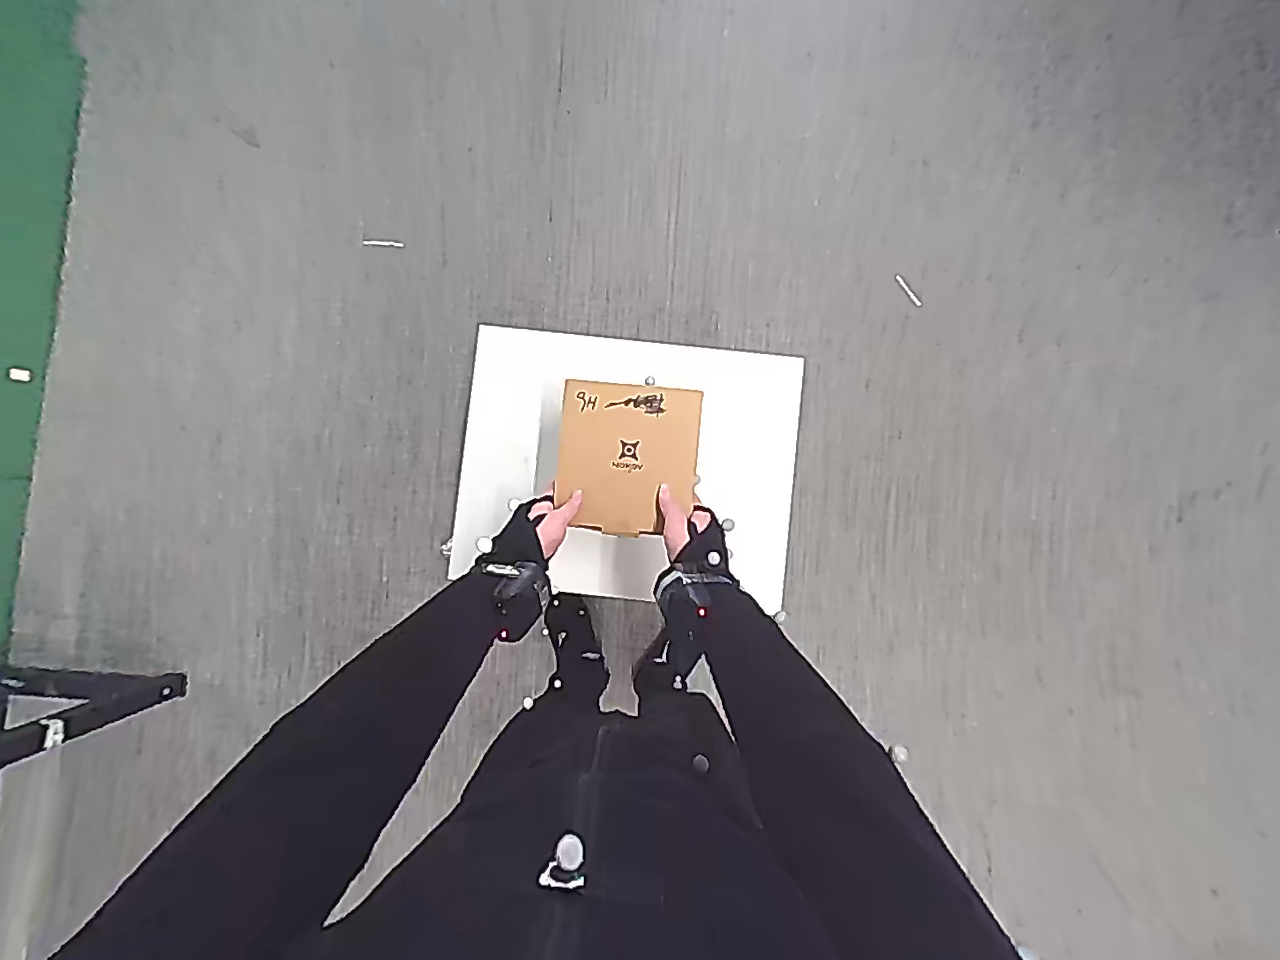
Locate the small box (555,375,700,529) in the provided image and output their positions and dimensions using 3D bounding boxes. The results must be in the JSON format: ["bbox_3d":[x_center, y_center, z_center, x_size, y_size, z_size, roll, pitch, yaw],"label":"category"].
[{"bbox_3d":[-0.012,-0.032,0.723,0.168,0.176,0.179,4,88,1],"label":"small box"}]
